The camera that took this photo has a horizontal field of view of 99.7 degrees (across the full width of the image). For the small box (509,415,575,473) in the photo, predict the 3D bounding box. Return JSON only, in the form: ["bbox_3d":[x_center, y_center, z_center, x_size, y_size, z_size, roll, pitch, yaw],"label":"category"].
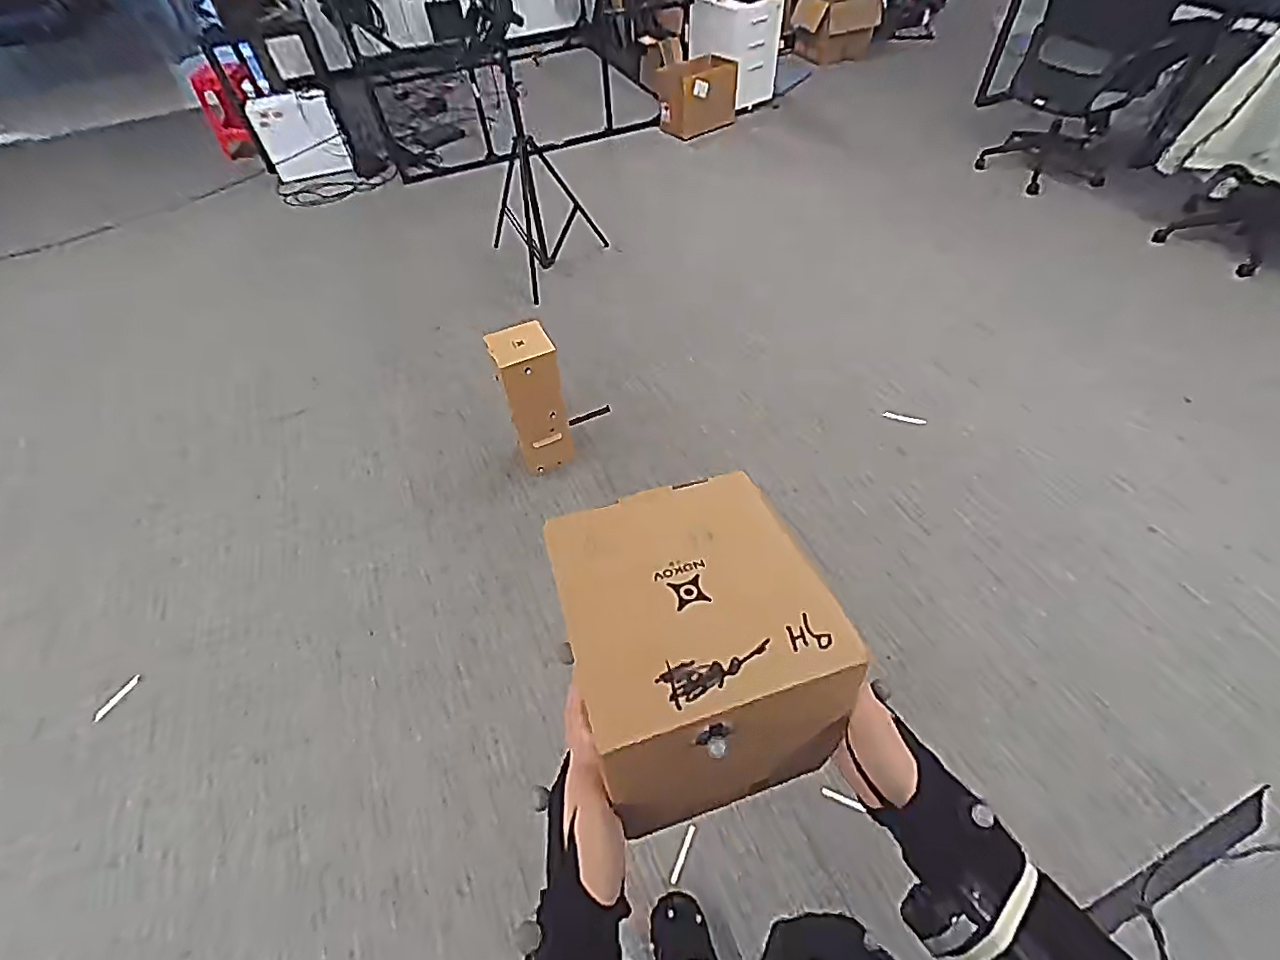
[{"bbox_3d":[-0.343,-0.148,1.917,0.168,0.176,0.179,-23,54,-14],"label":"small box"}]

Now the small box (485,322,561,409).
[{"bbox_3d":[-0.354,-0.349,1.663,0.179,0.176,0.168,-23,55,-15],"label":"small box"}]

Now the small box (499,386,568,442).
[{"bbox_3d":[-0.349,-0.247,1.790,0.168,0.176,0.179,-23,54,-15],"label":"small box"}]

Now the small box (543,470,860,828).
[{"bbox_3d":[0.032,0.124,0.412,0.168,0.176,0.179,-15,43,-9],"label":"small box"}]
